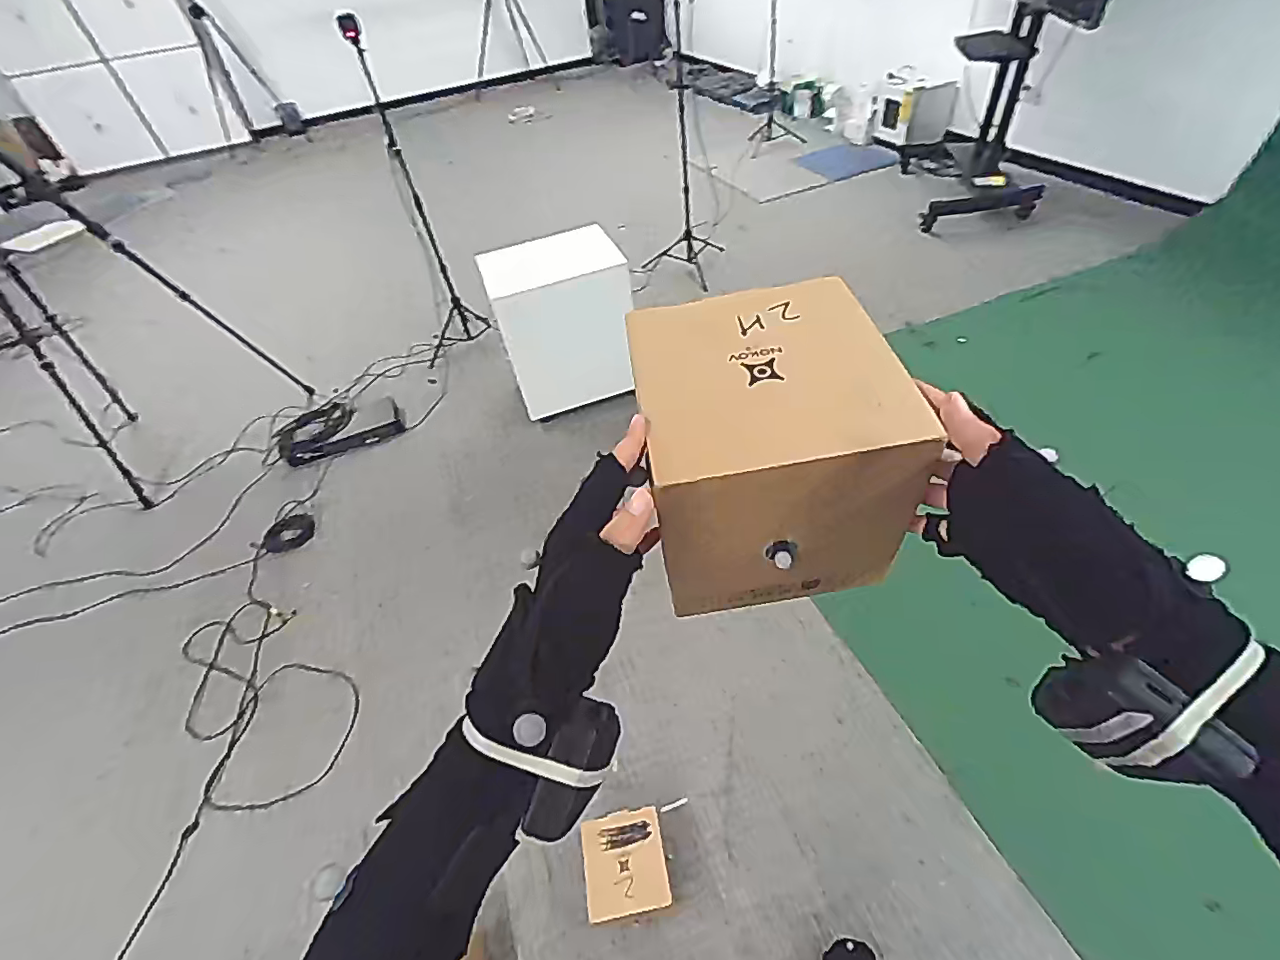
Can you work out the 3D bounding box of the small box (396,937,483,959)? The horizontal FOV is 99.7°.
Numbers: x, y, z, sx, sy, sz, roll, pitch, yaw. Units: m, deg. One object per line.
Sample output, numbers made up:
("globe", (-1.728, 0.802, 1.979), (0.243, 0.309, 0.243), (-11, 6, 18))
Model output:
("small box", (-0.400, 1.020, 1.037), (0.168, 0.176, 0.179), (-18, 46, -8))
